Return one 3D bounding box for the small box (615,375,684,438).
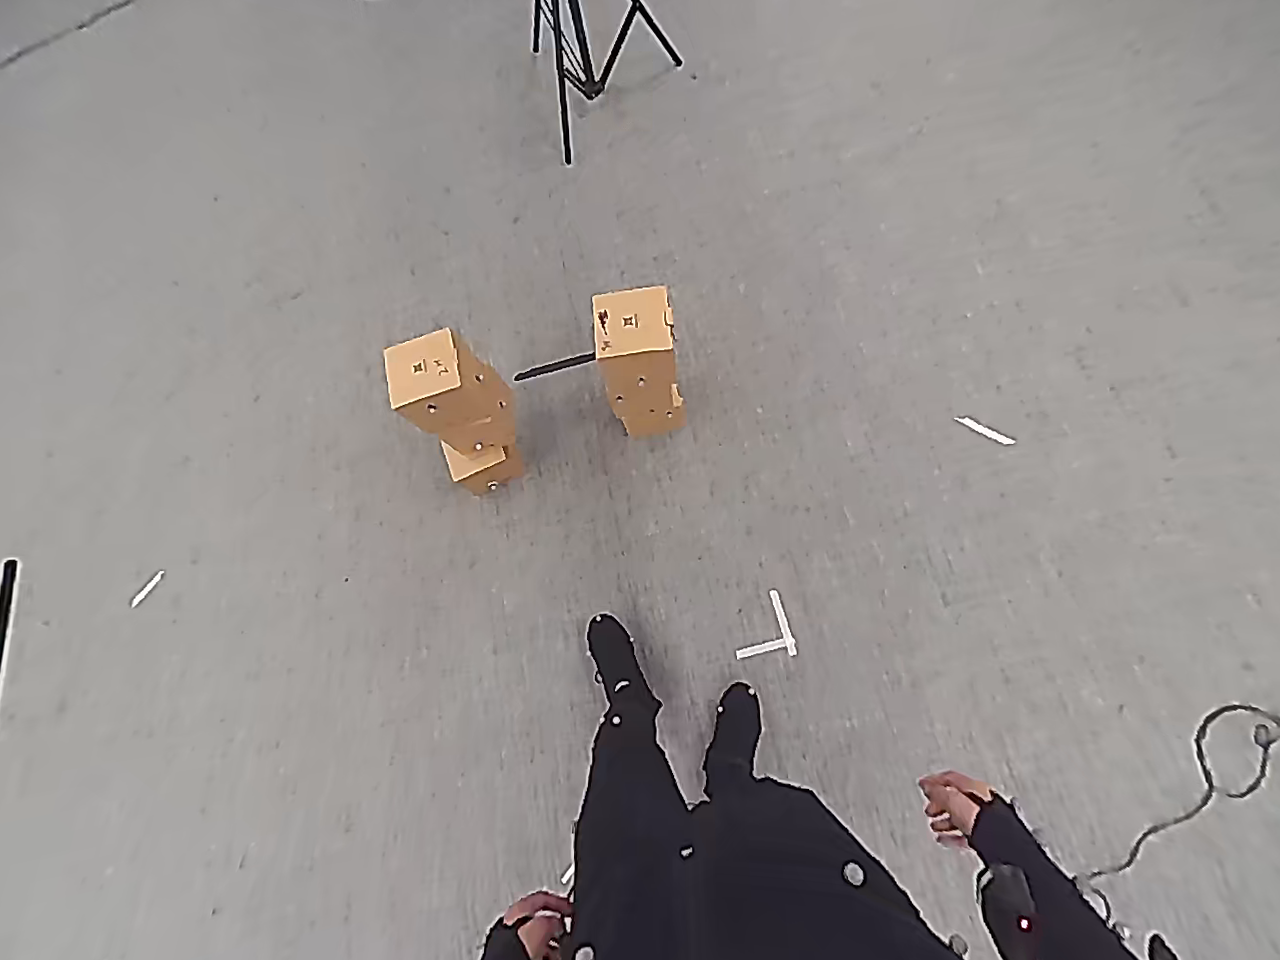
[{"bbox_3d":[0.026,-0.239,1.592,0.179,0.176,0.168,-13,72,3],"label":"small box"}]

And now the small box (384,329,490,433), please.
[{"bbox_3d":[-0.491,-0.233,1.319,0.179,0.176,0.168,-17,71,3],"label":"small box"}]

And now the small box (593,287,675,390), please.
[{"bbox_3d":[-0.009,-0.328,1.278,0.179,0.176,0.168,-6,72,4],"label":"small box"}]

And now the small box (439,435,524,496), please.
[{"bbox_3d":[-0.468,-0.076,1.614,0.168,0.176,0.179,-24,72,1],"label":"small box"}]

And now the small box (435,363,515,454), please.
[{"bbox_3d":[-0.452,-0.189,1.474,0.168,0.176,0.179,-10,72,6],"label":"small box"}]
